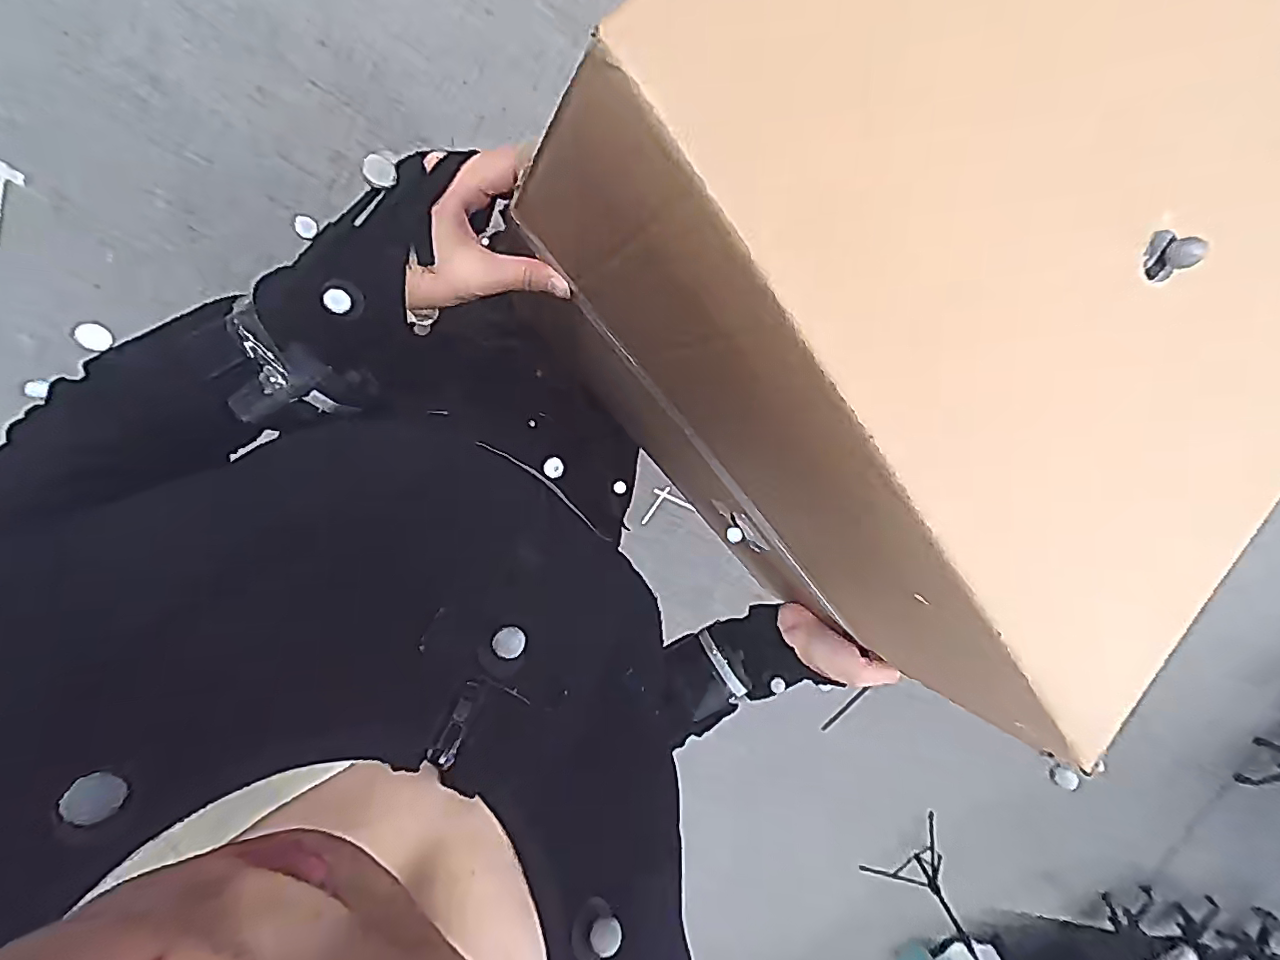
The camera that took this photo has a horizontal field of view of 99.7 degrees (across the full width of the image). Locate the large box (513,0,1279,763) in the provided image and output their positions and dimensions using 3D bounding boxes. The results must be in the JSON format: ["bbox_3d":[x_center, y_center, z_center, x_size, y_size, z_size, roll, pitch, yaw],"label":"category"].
[{"bbox_3d":[0.183,-0.126,0.355,0.320,0.320,0.408,-46,111,-7],"label":"large box"}]
